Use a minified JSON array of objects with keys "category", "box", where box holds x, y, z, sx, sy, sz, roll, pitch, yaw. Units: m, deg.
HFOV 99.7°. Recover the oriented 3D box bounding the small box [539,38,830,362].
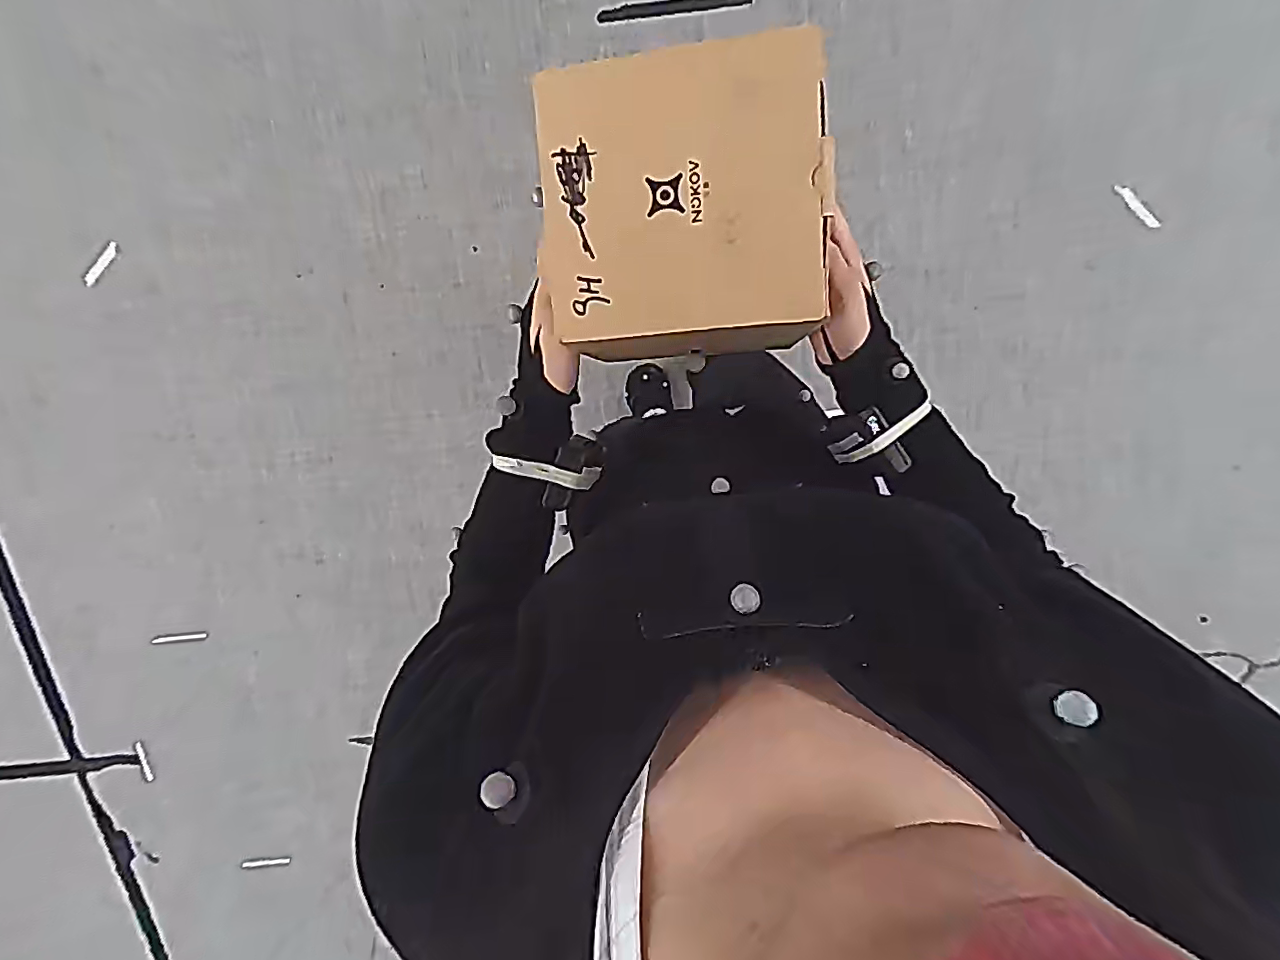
[{"category":"small box","box":[0.035,-0.184,0.412,0.179,0.176,0.168,-2,96,7]}]
